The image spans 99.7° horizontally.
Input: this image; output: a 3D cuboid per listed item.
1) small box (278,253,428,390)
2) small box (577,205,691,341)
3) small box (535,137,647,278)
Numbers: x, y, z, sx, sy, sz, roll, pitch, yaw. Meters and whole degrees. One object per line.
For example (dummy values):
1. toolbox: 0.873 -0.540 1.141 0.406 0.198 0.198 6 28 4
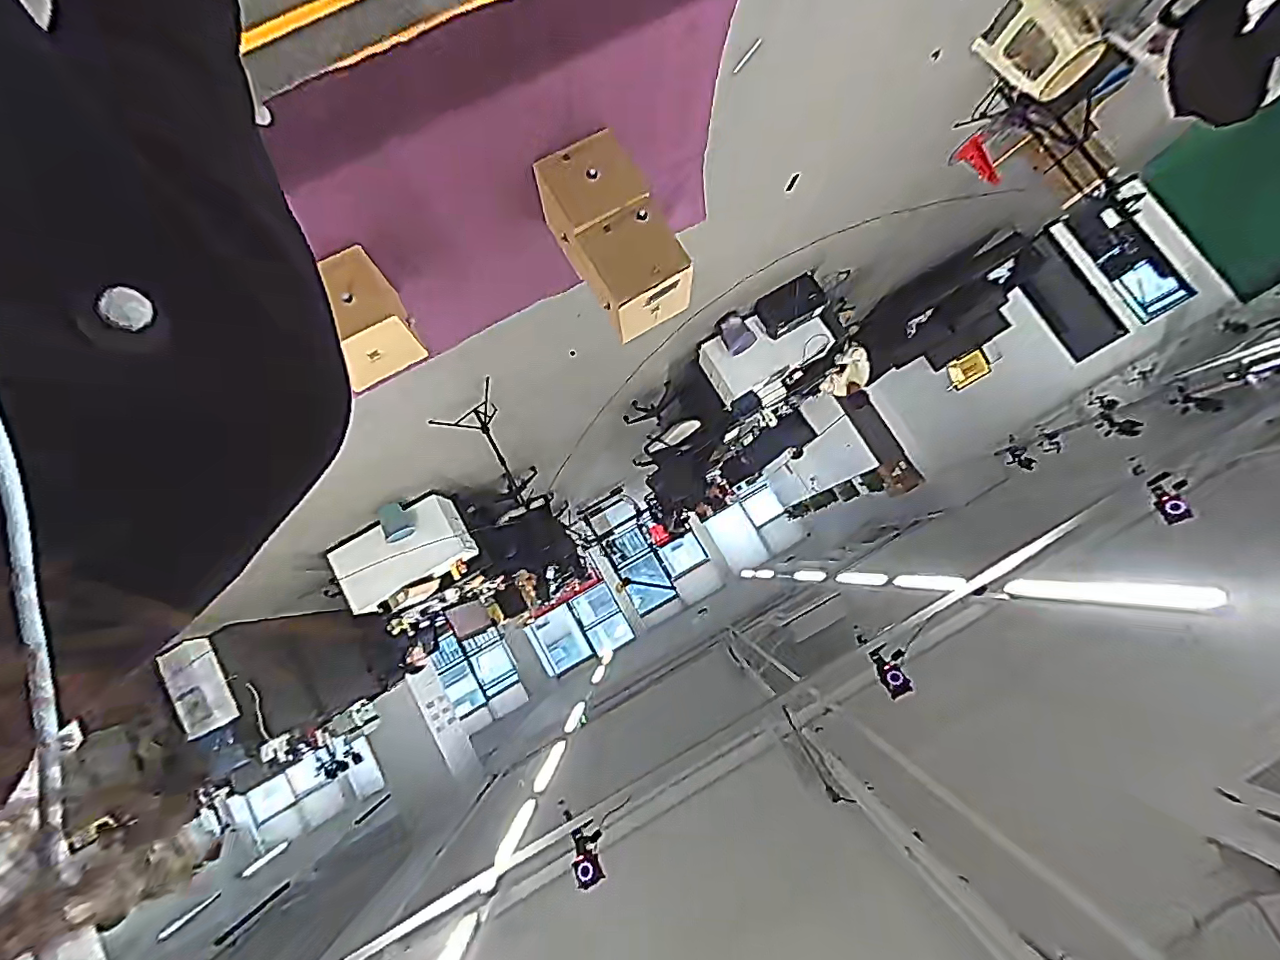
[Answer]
1. small box: -0.550 -0.308 1.046 0.168 0.176 0.179 -30 172 -7
2. small box: -0.013 -0.422 1.097 0.168 0.176 0.179 -30 172 -3
3. small box: -0.100 -0.562 1.110 0.168 0.176 0.179 -29 171 -7
